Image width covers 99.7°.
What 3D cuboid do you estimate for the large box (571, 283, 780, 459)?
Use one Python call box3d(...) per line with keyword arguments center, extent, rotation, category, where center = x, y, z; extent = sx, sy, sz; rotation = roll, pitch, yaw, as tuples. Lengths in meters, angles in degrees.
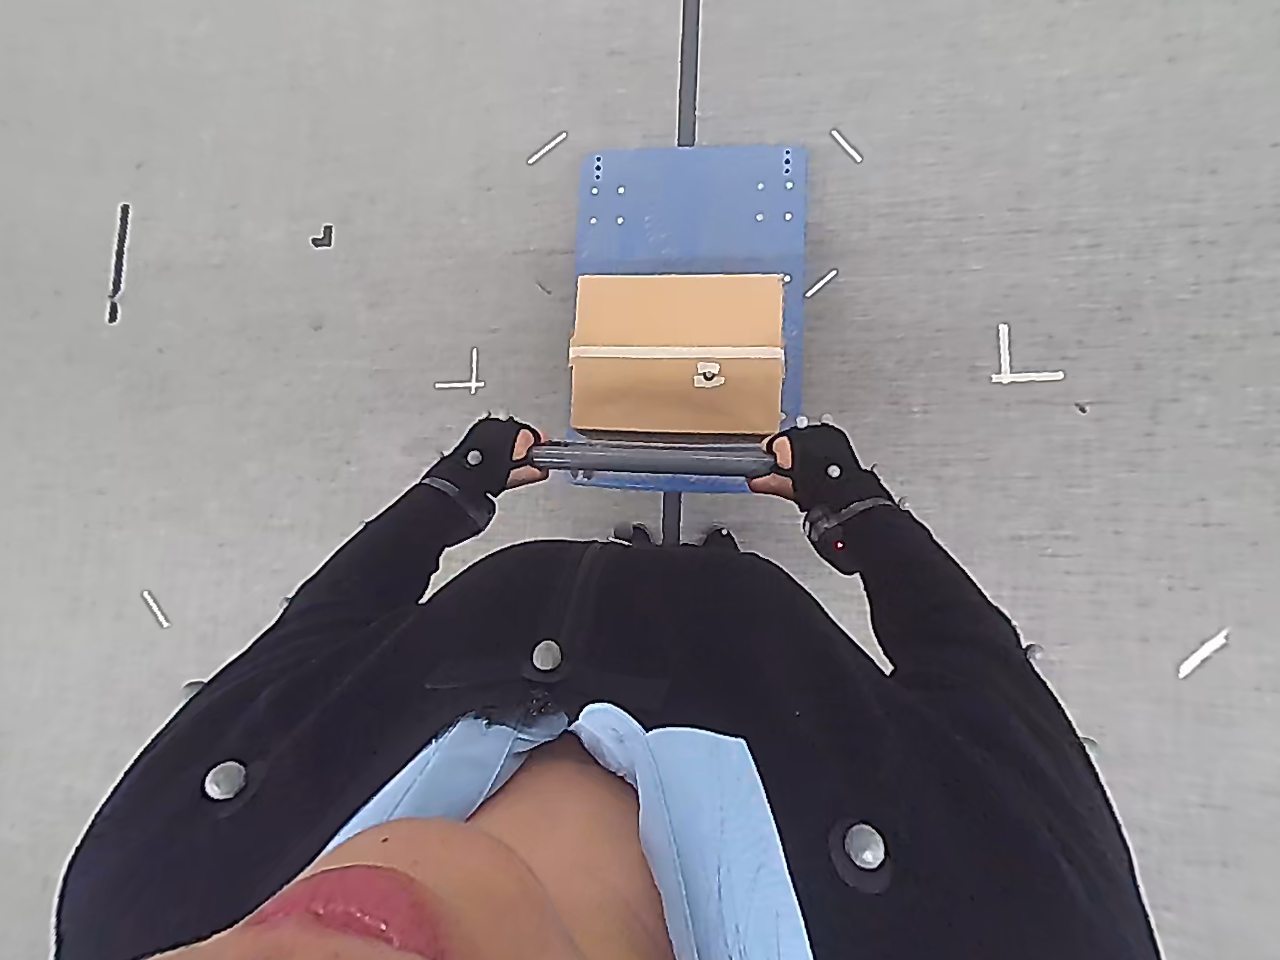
box3d(center=(0.080, -0.218, 1.190), extent=(0.408, 0.320, 0.320), rotation=(2, 87, 6), category="large box")
